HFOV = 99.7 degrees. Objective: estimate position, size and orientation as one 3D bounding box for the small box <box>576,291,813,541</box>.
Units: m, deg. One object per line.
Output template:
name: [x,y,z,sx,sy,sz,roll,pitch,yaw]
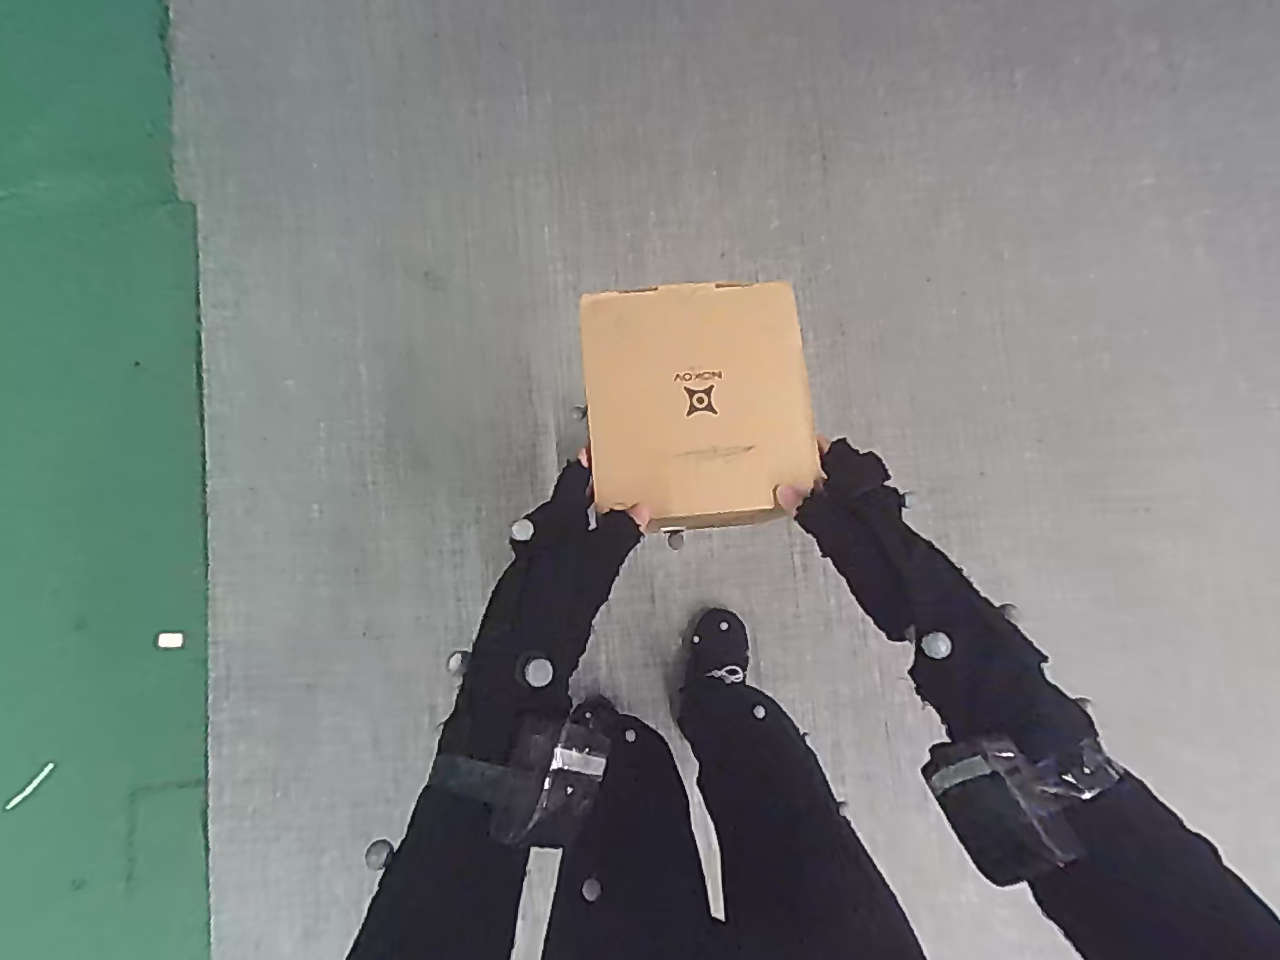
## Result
small box: [0.034,-0.043,0.480,0.168,0.176,0.179,-6,82,-3]
